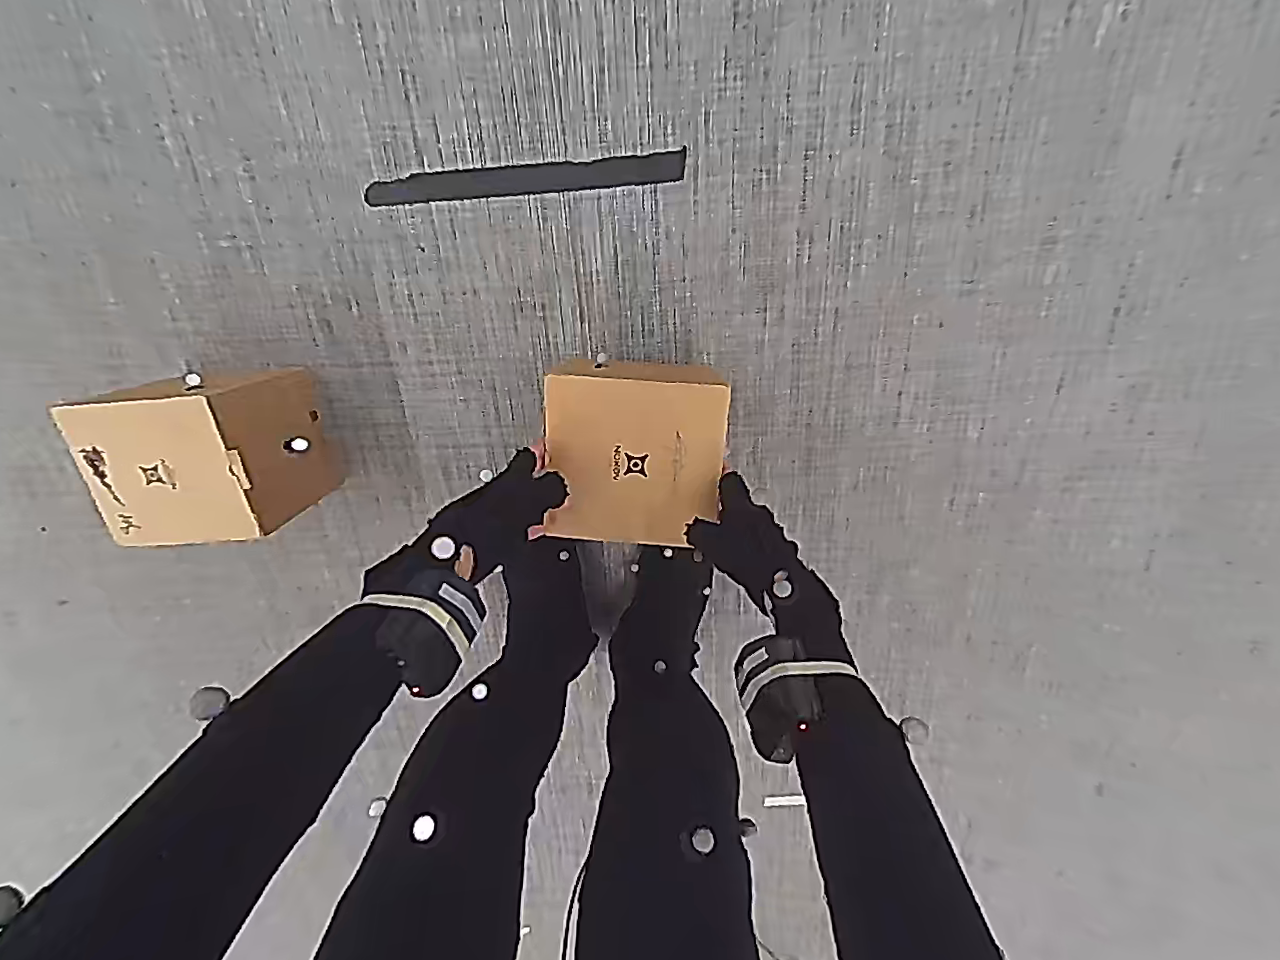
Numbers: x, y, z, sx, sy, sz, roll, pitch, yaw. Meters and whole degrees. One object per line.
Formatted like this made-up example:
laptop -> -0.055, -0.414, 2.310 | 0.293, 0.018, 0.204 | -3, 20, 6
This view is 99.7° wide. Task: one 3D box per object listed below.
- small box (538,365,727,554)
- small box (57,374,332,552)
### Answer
small box -> -0.006, -0.033, 0.594 | 0.179, 0.176, 0.168 | 3, 108, 2
small box -> -0.508, -0.028, 0.655 | 0.179, 0.176, 0.168 | -4, 112, 3
